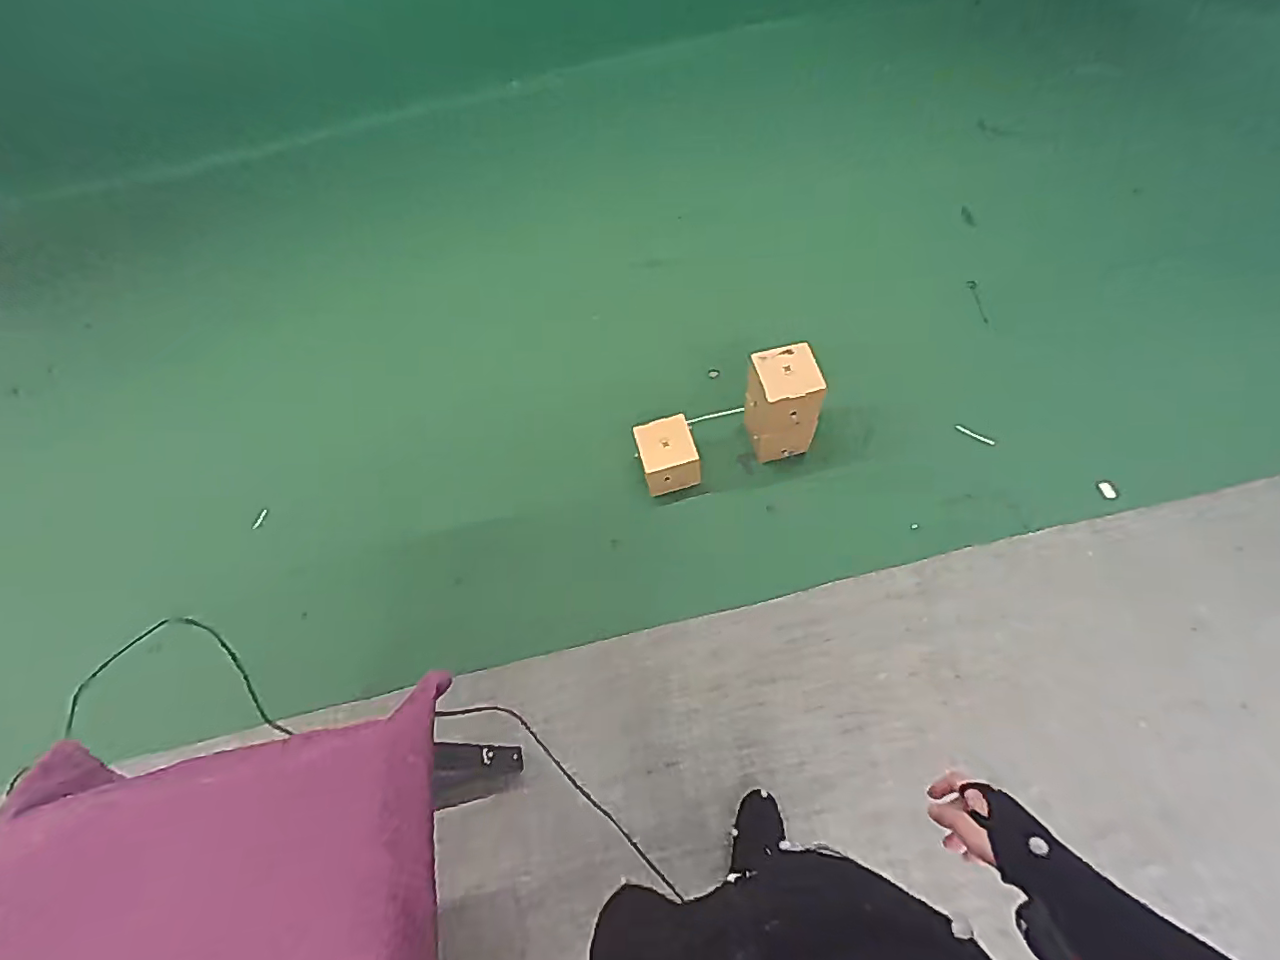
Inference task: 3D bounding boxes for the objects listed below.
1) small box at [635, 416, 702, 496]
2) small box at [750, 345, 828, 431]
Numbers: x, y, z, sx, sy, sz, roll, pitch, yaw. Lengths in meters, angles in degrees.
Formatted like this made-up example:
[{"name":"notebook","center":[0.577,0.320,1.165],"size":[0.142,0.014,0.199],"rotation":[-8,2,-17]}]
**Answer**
[{"name":"small box","center":[0.093,-0.067,1.706],"size":[0.168,0.176,0.179],"rotation":[-16,60,-1]},{"name":"small box","center":[0.426,-0.260,1.573],"size":[0.168,0.176,0.179],"rotation":[-12,63,0]}]
